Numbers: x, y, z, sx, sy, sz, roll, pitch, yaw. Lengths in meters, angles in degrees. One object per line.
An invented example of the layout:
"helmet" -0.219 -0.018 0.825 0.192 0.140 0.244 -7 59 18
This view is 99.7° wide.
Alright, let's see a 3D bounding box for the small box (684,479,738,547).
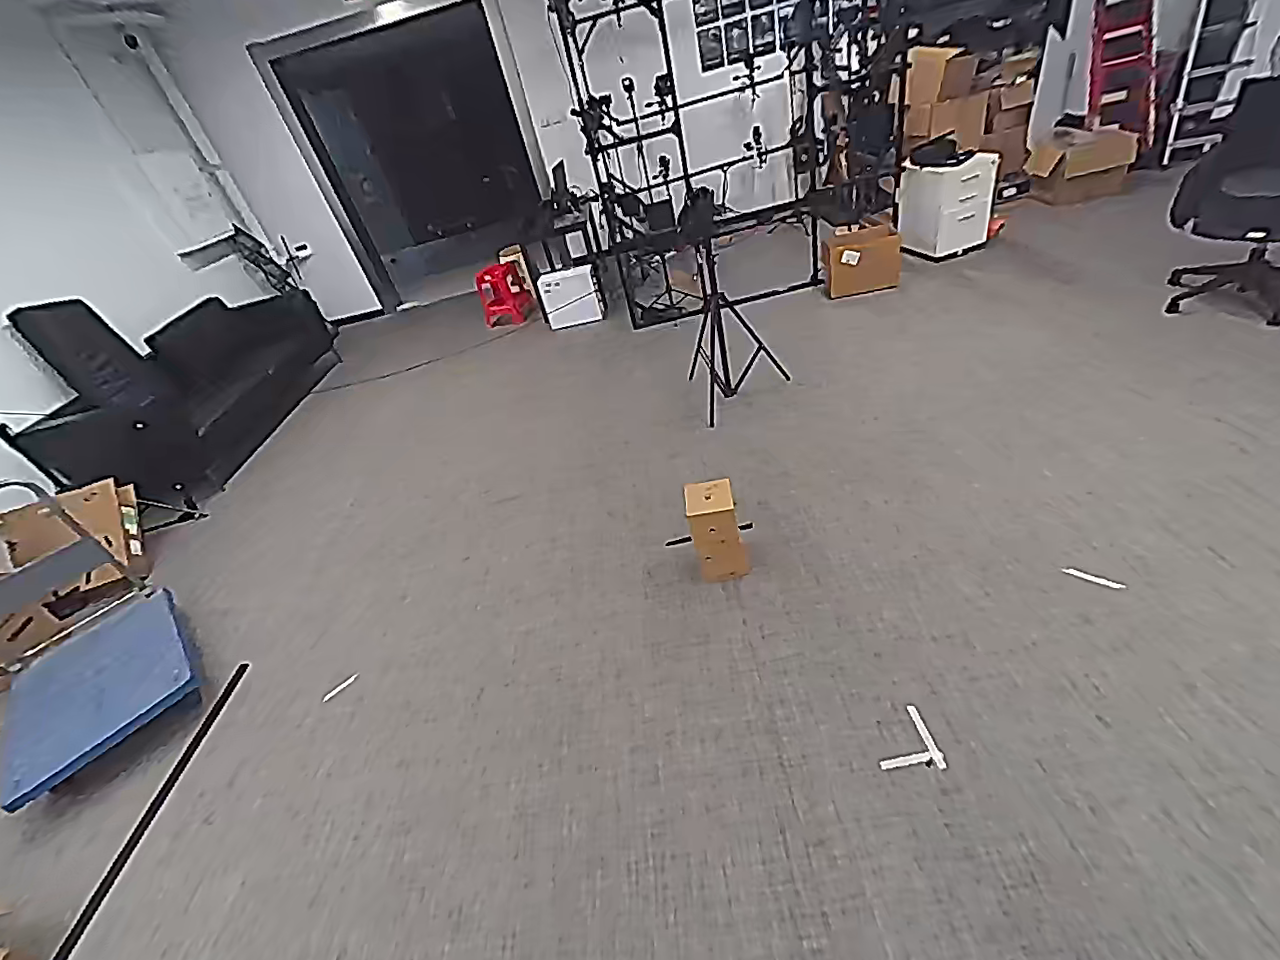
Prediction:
"small box" 0.254 0.126 1.952 0.168 0.176 0.179 -10 35 9
